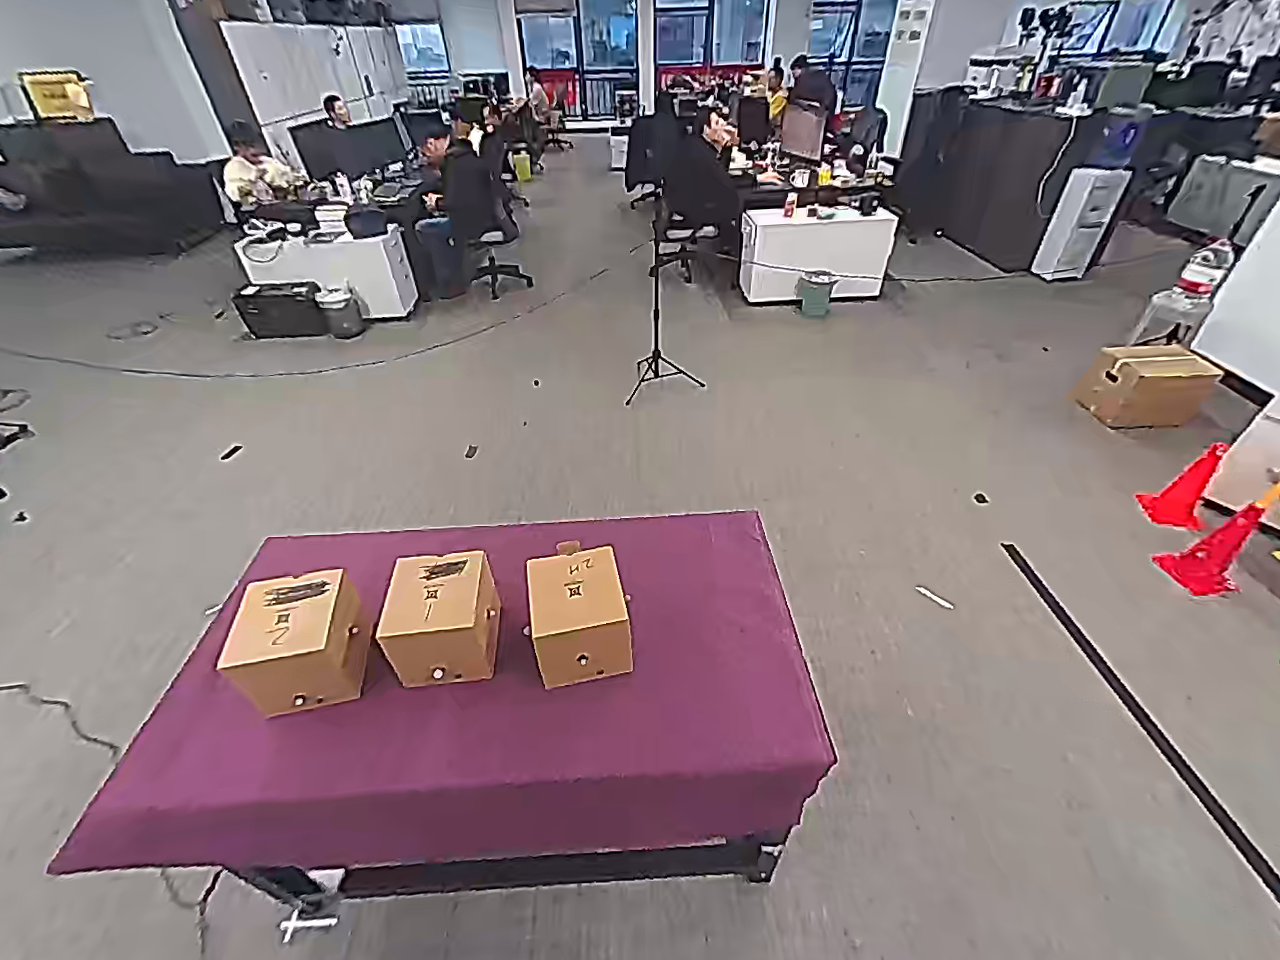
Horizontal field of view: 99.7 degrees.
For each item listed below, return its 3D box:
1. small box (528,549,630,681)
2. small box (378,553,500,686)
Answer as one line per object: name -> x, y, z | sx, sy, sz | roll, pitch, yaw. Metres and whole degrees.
small box -> -0.114, 0.260, 1.022 | 0.168, 0.176, 0.179 | -8, 40, -8
small box -> -0.368, 0.264, 1.027 | 0.168, 0.176, 0.179 | -5, 40, -4
